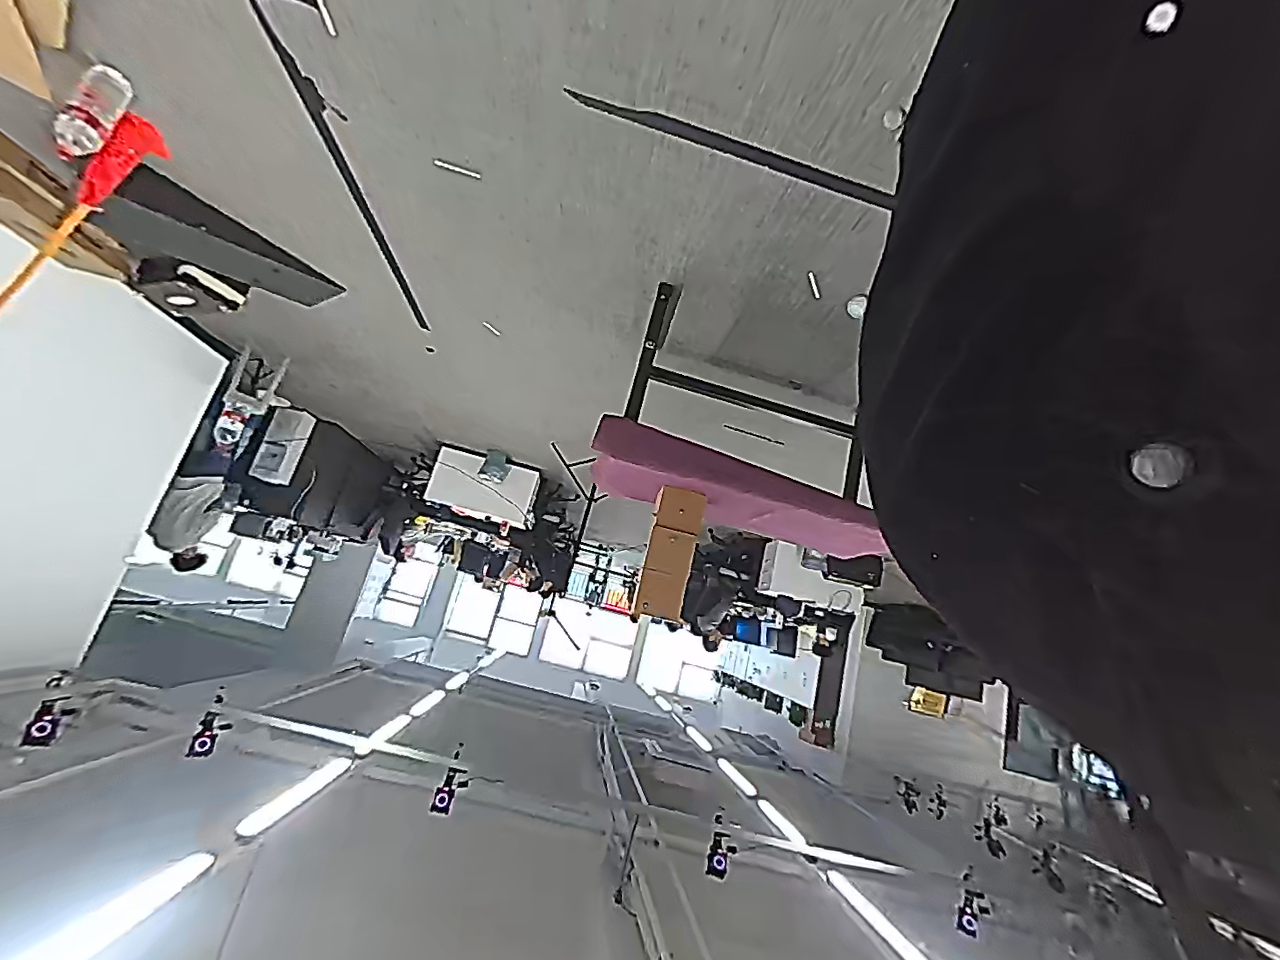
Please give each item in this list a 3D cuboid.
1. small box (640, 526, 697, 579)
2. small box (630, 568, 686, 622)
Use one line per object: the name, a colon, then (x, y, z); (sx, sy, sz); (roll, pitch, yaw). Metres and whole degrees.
small box: (0.108, 0.282, 2.095); (0.179, 0.176, 0.168); (15, 166, 0)
small box: (0.069, 0.438, 2.063); (0.179, 0.176, 0.168); (14, 166, 0)
